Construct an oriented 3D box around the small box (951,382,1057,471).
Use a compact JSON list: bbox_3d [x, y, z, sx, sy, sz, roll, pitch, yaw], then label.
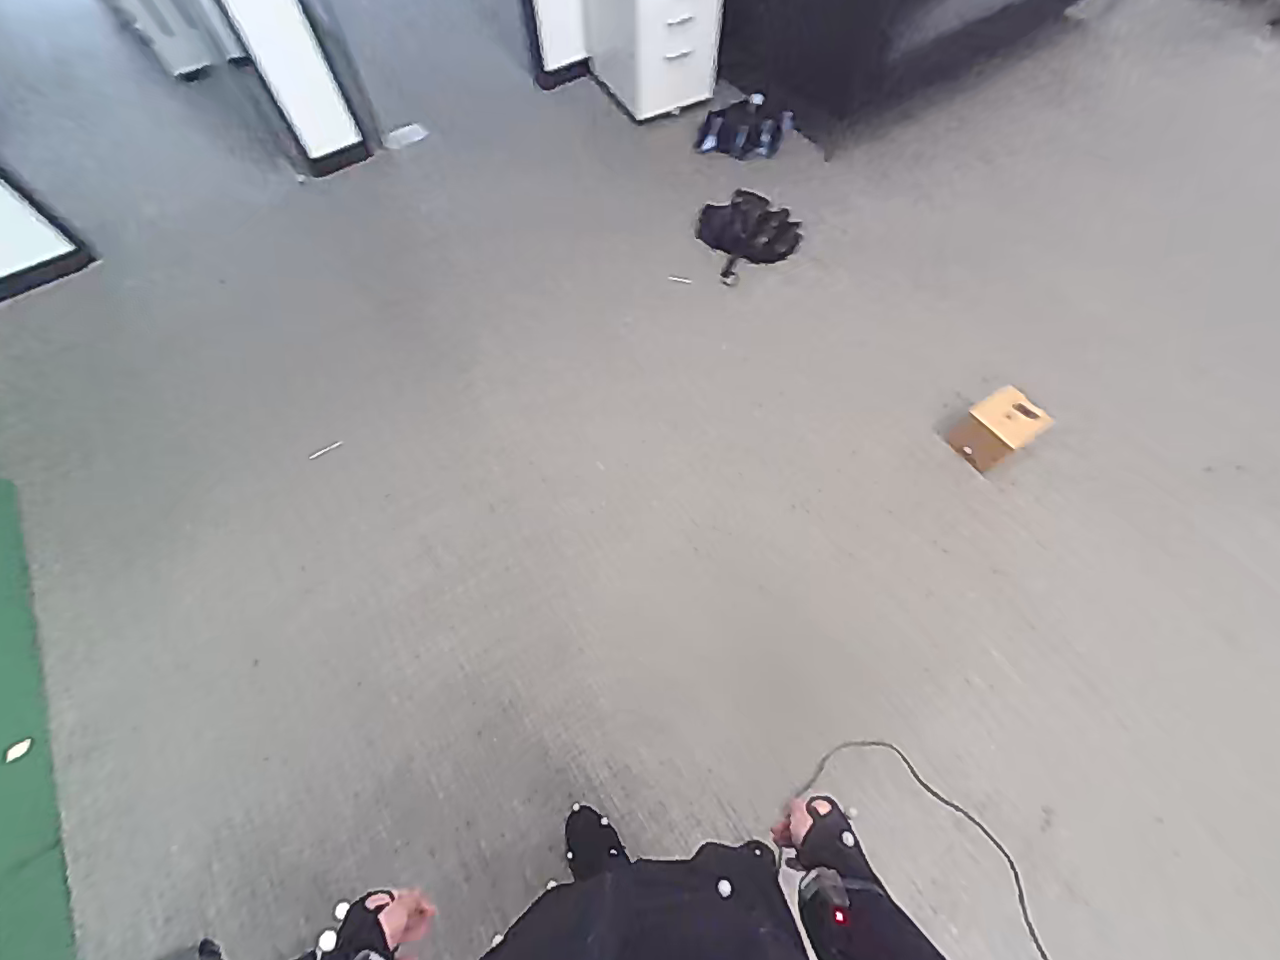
[{"bbox_3d":[1.096,-0.160,1.647,0.179,0.176,0.168,-31,65,-13],"label":"small box"}]
